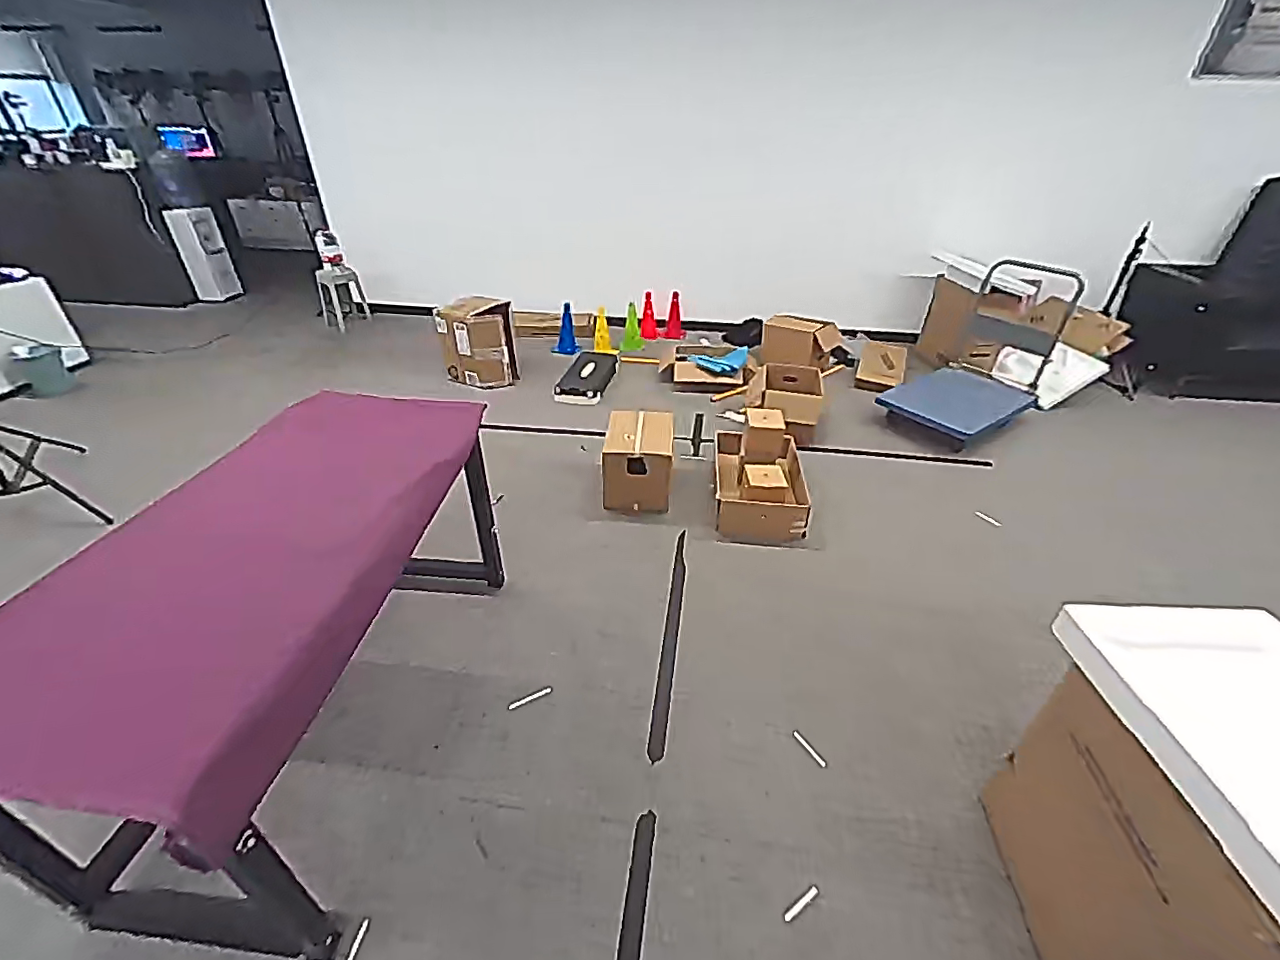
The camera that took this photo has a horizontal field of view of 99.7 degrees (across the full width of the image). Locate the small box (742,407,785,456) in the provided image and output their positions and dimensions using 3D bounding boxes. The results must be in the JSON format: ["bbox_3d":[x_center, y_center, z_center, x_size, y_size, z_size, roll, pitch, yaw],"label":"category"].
[{"bbox_3d":[0.581,-0.226,2.556,0.168,0.176,0.179,5,36,3],"label":"small box"}]

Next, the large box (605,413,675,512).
[{"bbox_3d":[0.002,-0.092,2.605,0.320,0.320,0.408,2,35,3],"label":"large box"}]
